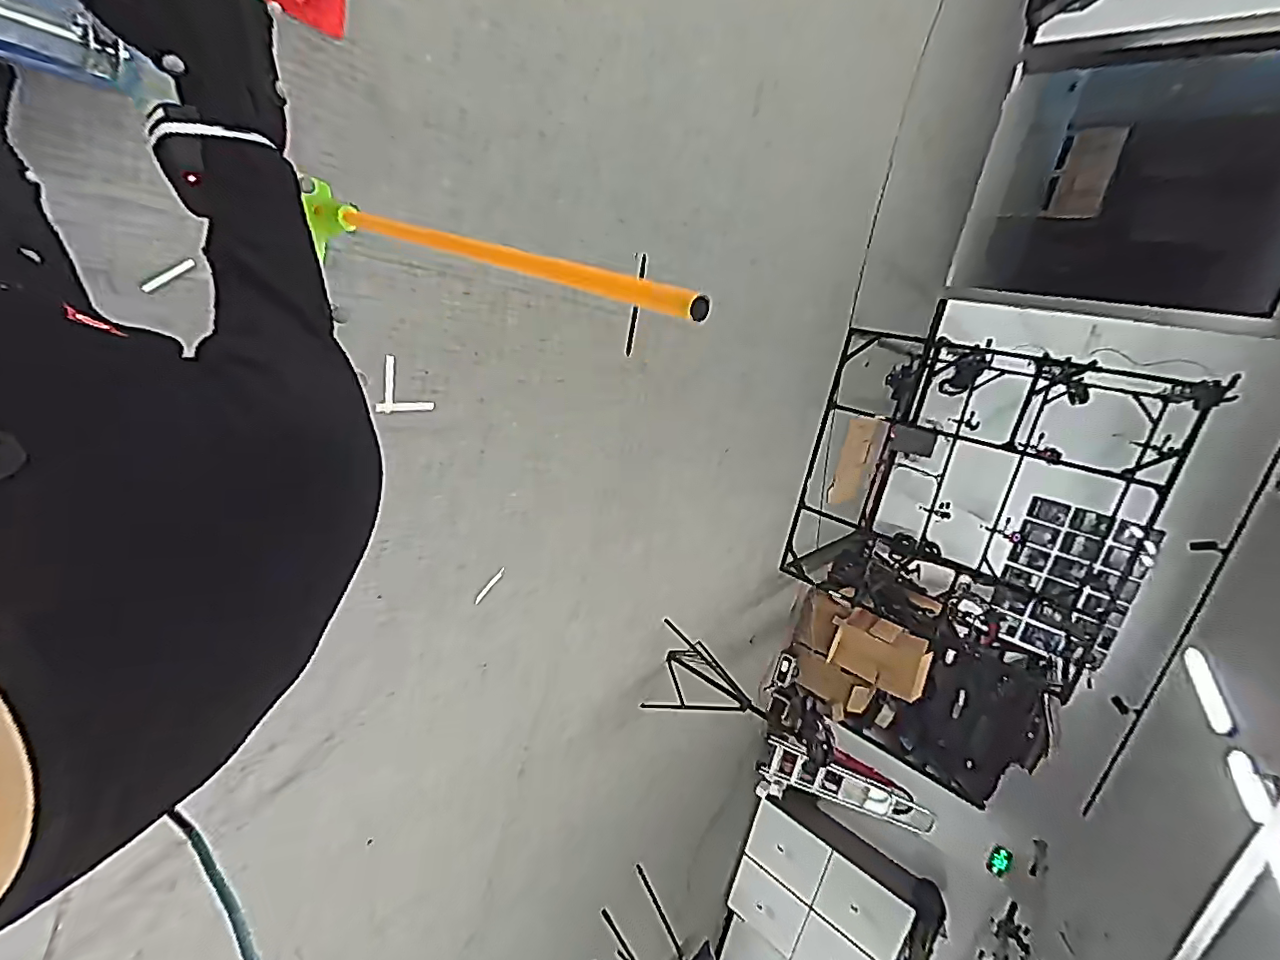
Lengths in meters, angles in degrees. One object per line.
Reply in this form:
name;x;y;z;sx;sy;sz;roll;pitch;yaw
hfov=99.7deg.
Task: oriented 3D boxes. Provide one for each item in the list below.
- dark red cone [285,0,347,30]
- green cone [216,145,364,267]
dark red cone;-0.549;-0.991;0.969;0.201;0.394;0.202;-9;116;-53
green cone;-0.670;-0.537;1.090;0.202;0.368;0.200;-3;111;-54
